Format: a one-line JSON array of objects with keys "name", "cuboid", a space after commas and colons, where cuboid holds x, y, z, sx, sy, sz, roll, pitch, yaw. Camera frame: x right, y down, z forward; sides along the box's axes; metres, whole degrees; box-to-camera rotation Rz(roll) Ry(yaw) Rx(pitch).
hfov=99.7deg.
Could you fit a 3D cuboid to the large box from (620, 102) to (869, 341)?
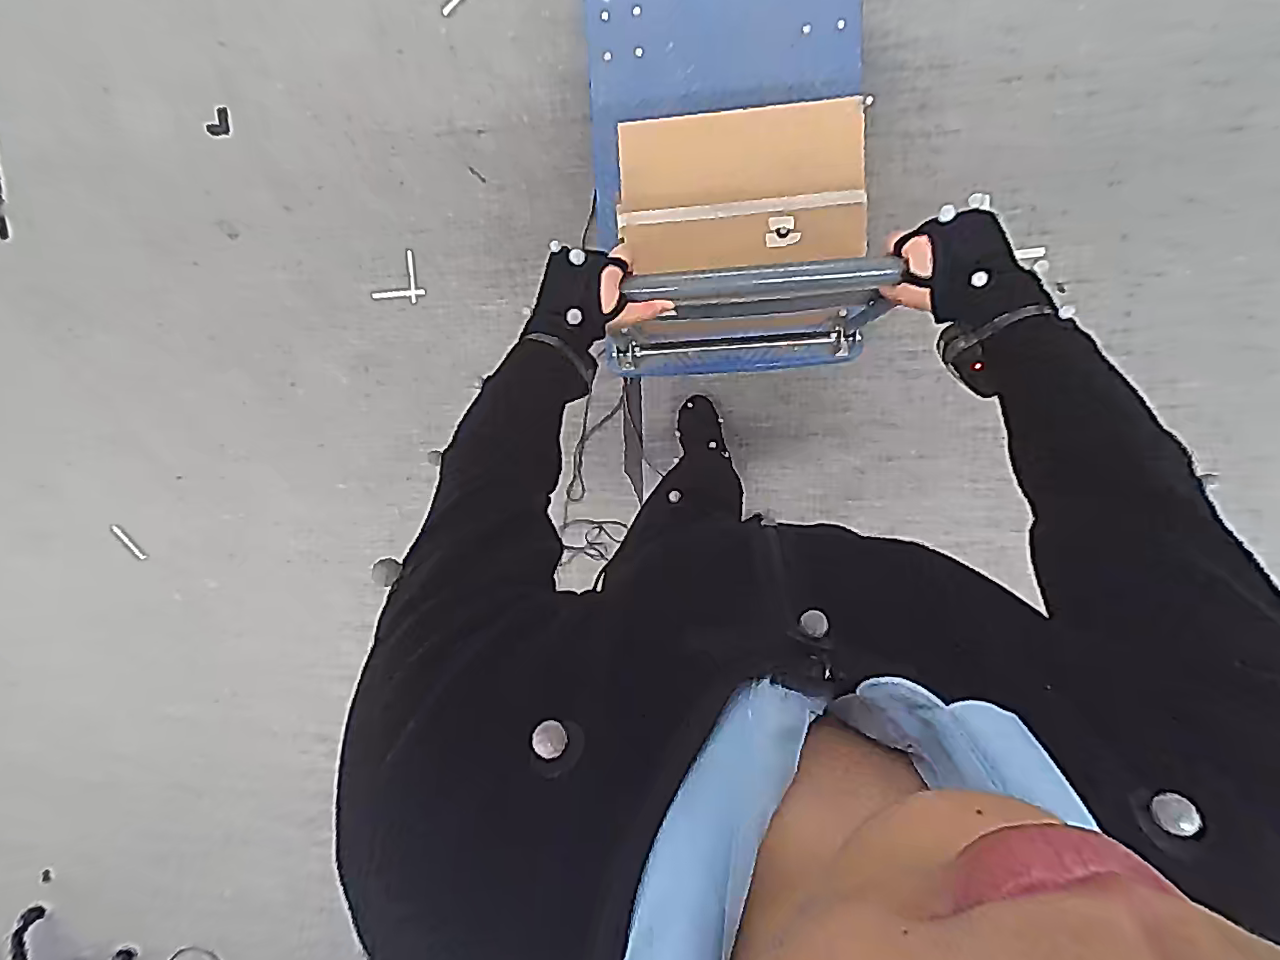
[{"name": "large box", "cuboid": [0.185, -0.460, 1.048, 0.408, 0.320, 0.320, -3, 98, 5]}]
